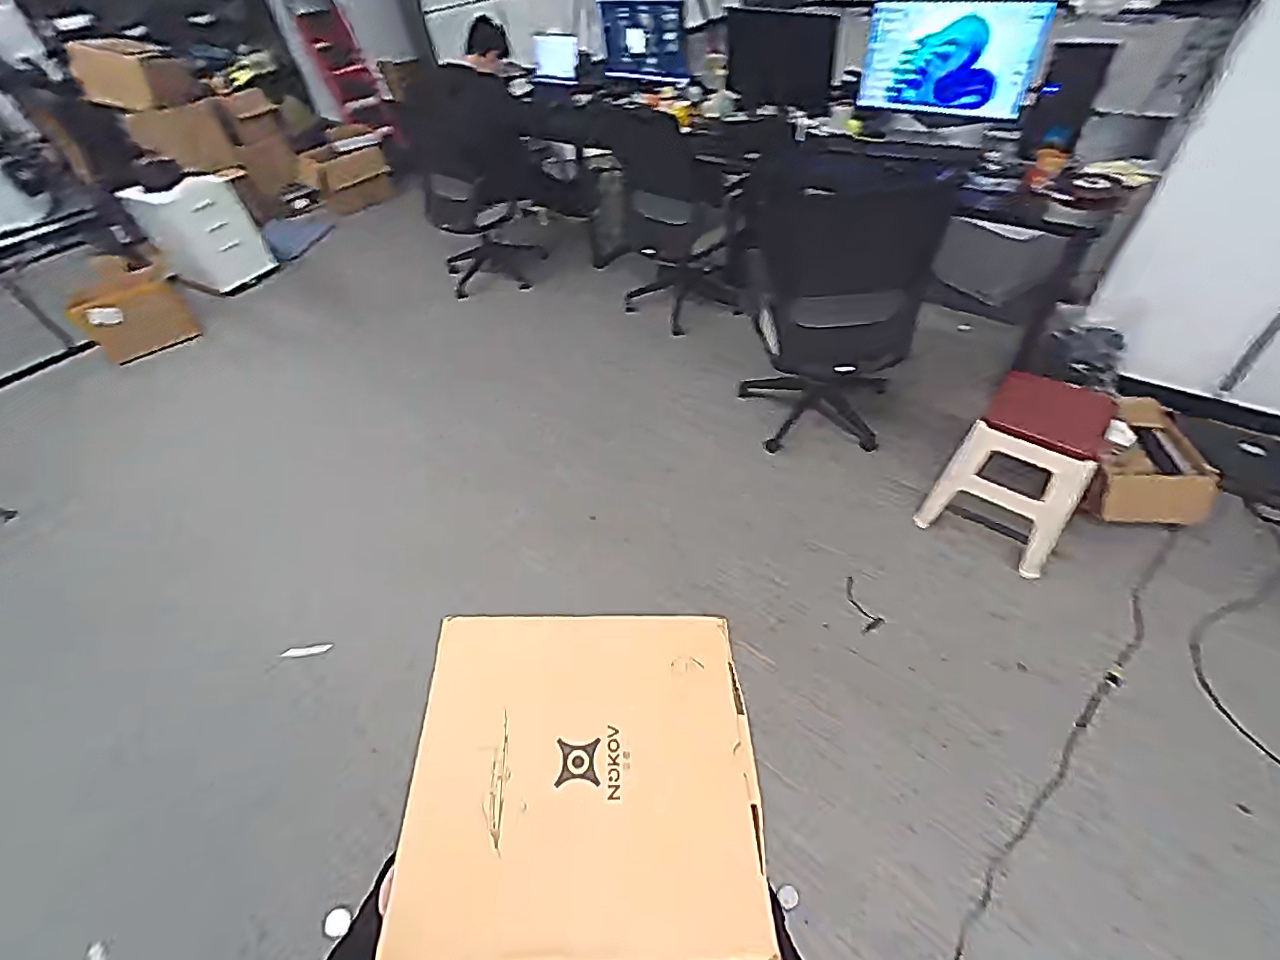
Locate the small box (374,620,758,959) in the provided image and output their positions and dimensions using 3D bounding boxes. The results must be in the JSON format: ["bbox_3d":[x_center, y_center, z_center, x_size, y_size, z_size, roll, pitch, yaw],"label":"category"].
[{"bbox_3d":[-0.040,0.205,0.355,0.179,0.176,0.168,0,49,-5],"label":"small box"}]
